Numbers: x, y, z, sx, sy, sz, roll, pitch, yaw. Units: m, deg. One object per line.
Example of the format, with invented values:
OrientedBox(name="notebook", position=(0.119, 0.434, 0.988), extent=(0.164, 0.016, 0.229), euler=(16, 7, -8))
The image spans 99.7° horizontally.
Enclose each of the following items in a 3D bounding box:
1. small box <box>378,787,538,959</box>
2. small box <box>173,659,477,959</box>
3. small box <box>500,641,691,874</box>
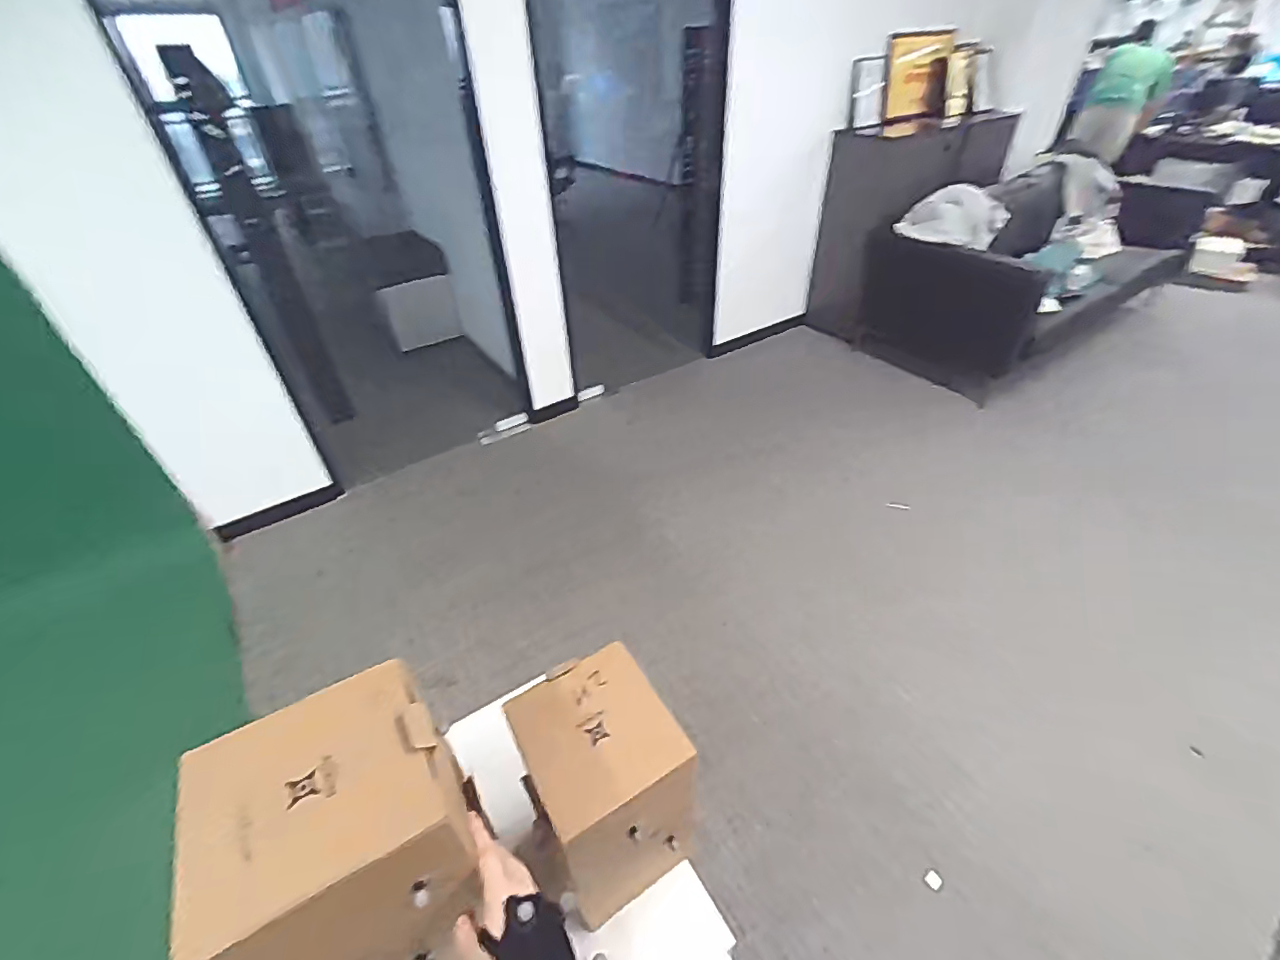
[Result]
OrientedBox(name="small box", position=(-0.250, 0.547, 0.690), extent=(0.179, 0.176, 0.168), euler=(-23, 44, -25))
OrientedBox(name="small box", position=(-0.256, 0.301, 0.472), extent=(0.179, 0.176, 0.168), euler=(-23, 43, -23))
OrientedBox(name="small box", position=(-0.051, 0.344, 0.667), extent=(0.168, 0.176, 0.179), euler=(-23, 43, -23))
